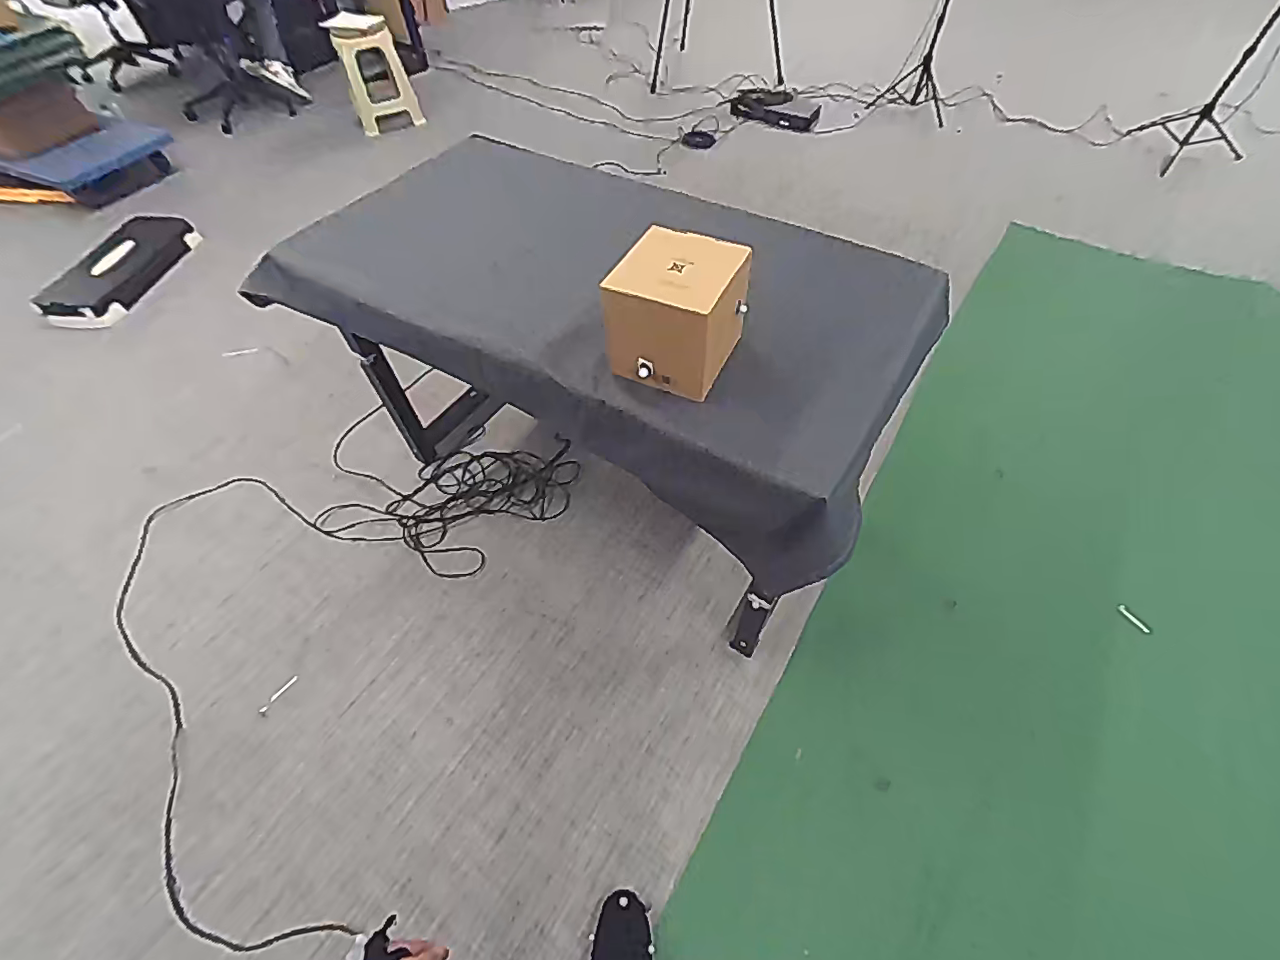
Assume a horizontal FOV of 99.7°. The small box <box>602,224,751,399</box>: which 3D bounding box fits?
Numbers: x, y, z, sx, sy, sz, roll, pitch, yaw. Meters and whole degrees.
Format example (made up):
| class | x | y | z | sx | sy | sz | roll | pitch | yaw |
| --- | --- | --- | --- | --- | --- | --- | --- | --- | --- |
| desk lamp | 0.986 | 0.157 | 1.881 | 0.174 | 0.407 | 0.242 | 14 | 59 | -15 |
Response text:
| class | x | y | z | sx | sy | sz | roll | pitch | yaw |
| --- | --- | --- | --- | --- | --- | --- | --- | --- | --- |
| small box | 0.056 | -0.259 | 0.834 | 0.168 | 0.176 | 0.179 | 20 | 58 | 16 |
